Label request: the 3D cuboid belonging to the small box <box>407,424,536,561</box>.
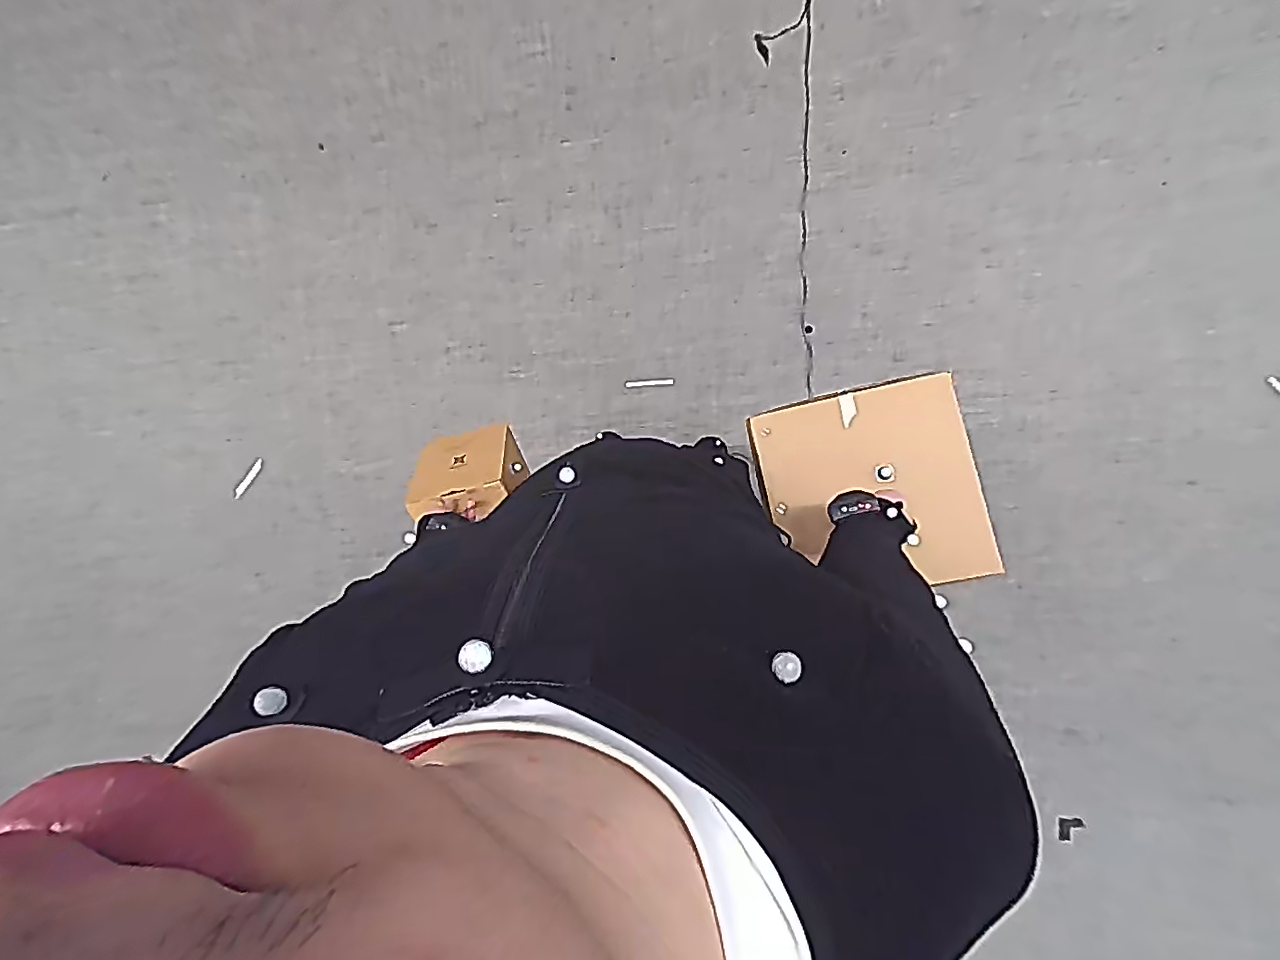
[{"bbox_3d":[-0.296,0.029,0.992,0.168,0.179,0.176,-15,129,2],"label":"small box"}]
